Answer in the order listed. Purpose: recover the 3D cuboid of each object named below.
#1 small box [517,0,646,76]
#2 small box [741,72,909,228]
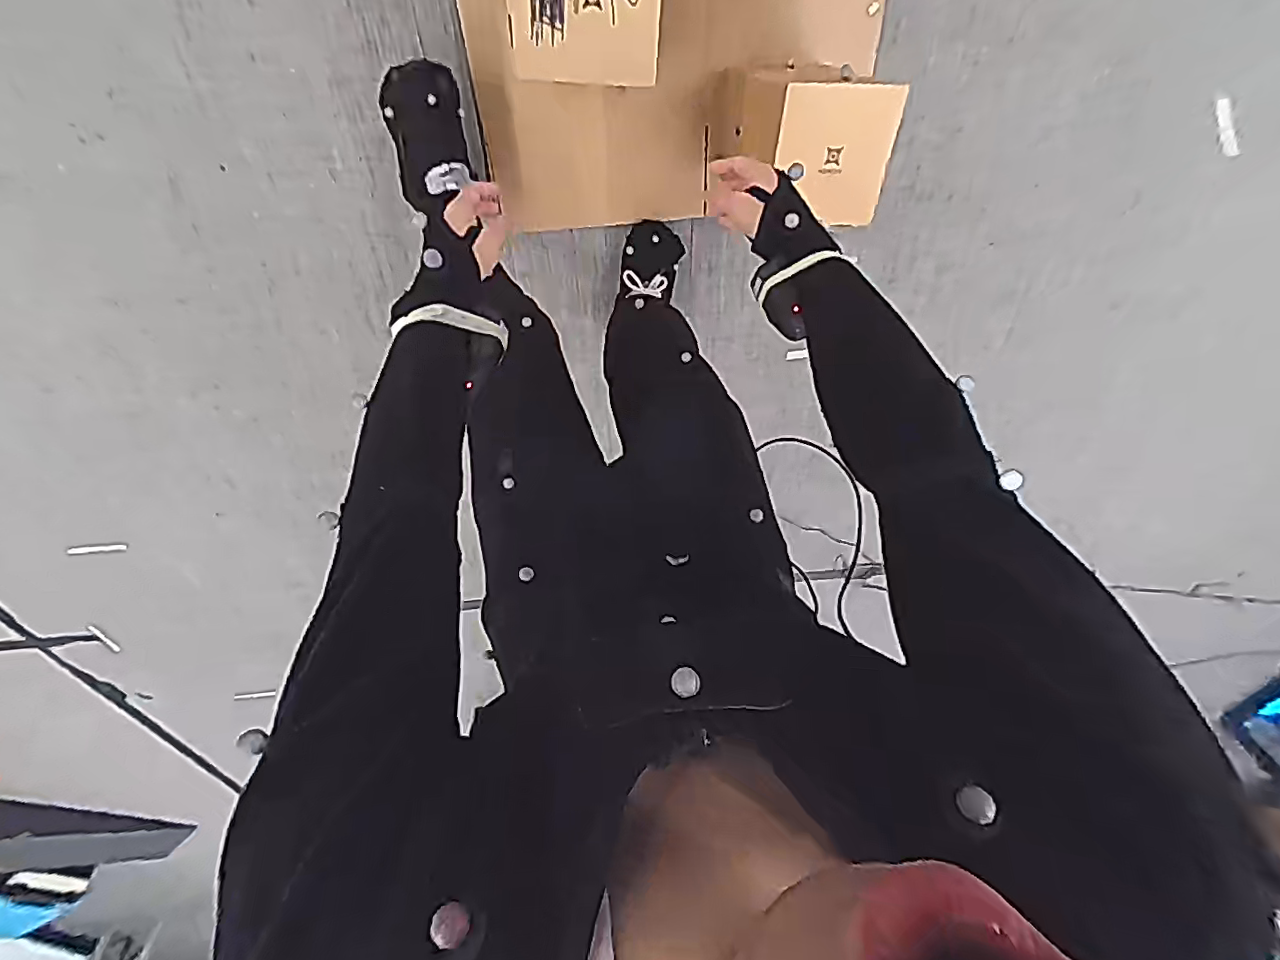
[{"bbox_3d":[-0.083,-0.707,0.789,0.179,0.176,0.168,2,130,-8],"label":"small box"},{"bbox_3d":[0.257,-0.492,0.804,0.168,0.176,0.179,-3,132,-5],"label":"small box"}]
